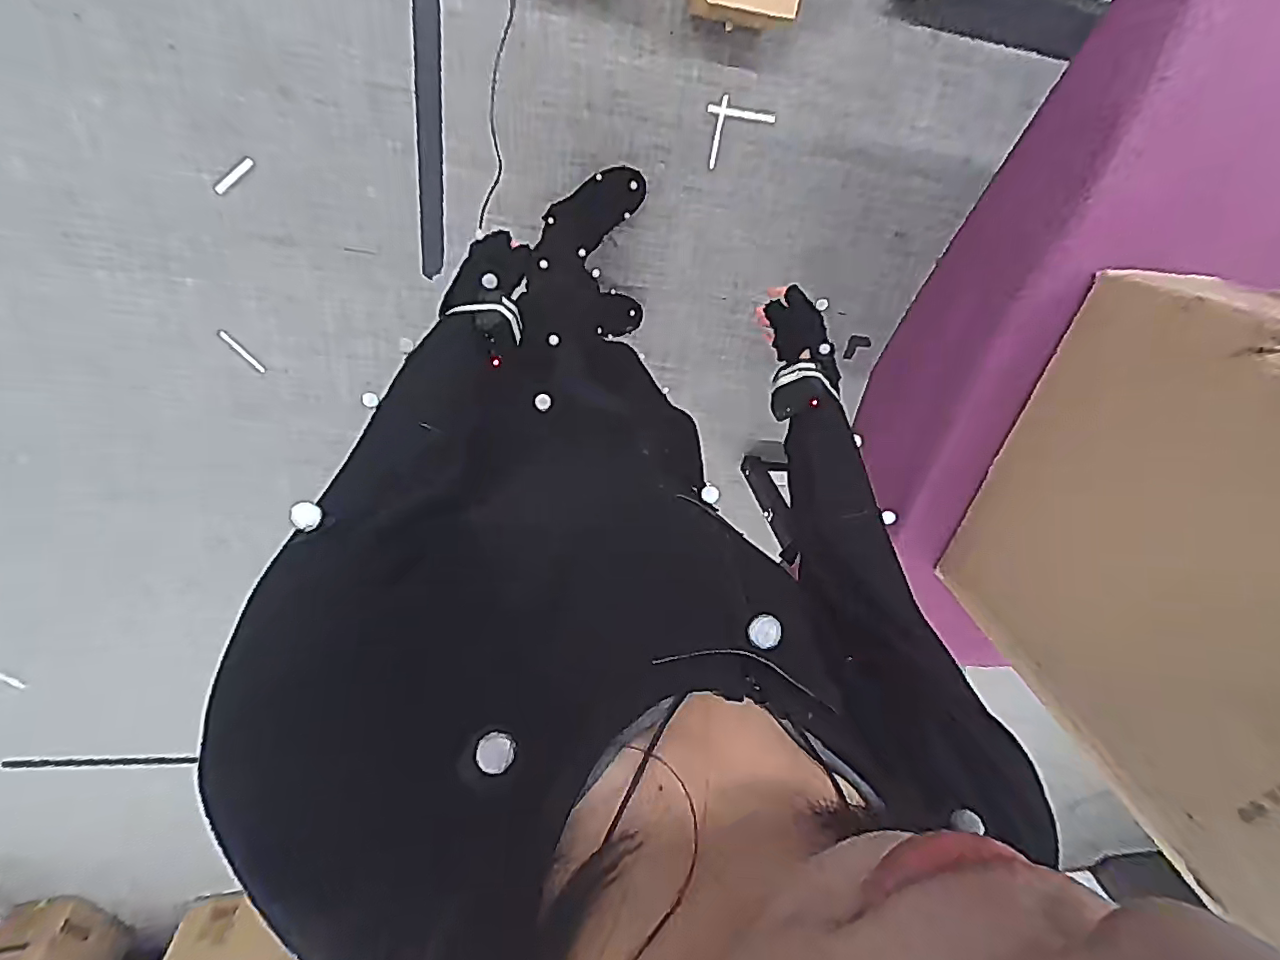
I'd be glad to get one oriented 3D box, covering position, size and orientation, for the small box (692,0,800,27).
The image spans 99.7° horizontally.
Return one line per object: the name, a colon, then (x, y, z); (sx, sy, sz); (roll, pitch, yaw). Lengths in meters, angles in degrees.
small box: (0.196, -0.935, 0.953); (0.168, 0.176, 0.179); (3, 124, -10)
